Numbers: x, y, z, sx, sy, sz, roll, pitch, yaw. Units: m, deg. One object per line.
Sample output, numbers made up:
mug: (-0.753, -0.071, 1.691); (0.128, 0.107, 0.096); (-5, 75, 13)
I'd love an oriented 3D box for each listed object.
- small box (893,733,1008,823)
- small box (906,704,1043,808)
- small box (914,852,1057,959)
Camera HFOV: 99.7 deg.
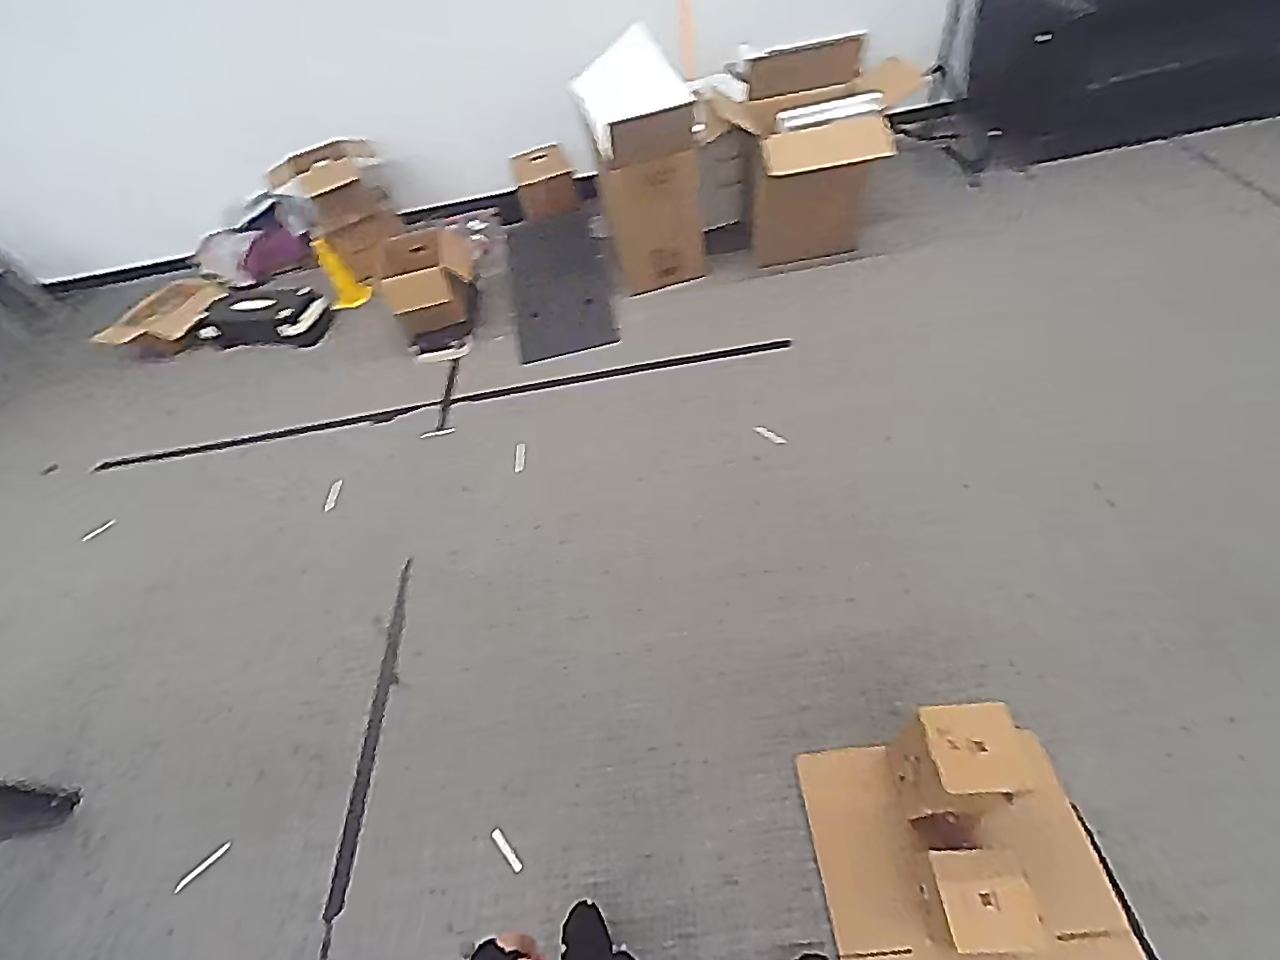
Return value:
small box: (0.709, 0.694, 1.264); (0.179, 0.176, 0.168); (-7, 51, 6)
small box: (0.690, 0.585, 1.141); (0.179, 0.176, 0.168); (-6, 51, 7)
small box: (0.702, 0.877, 1.124); (0.179, 0.176, 0.168); (-6, 52, 7)
